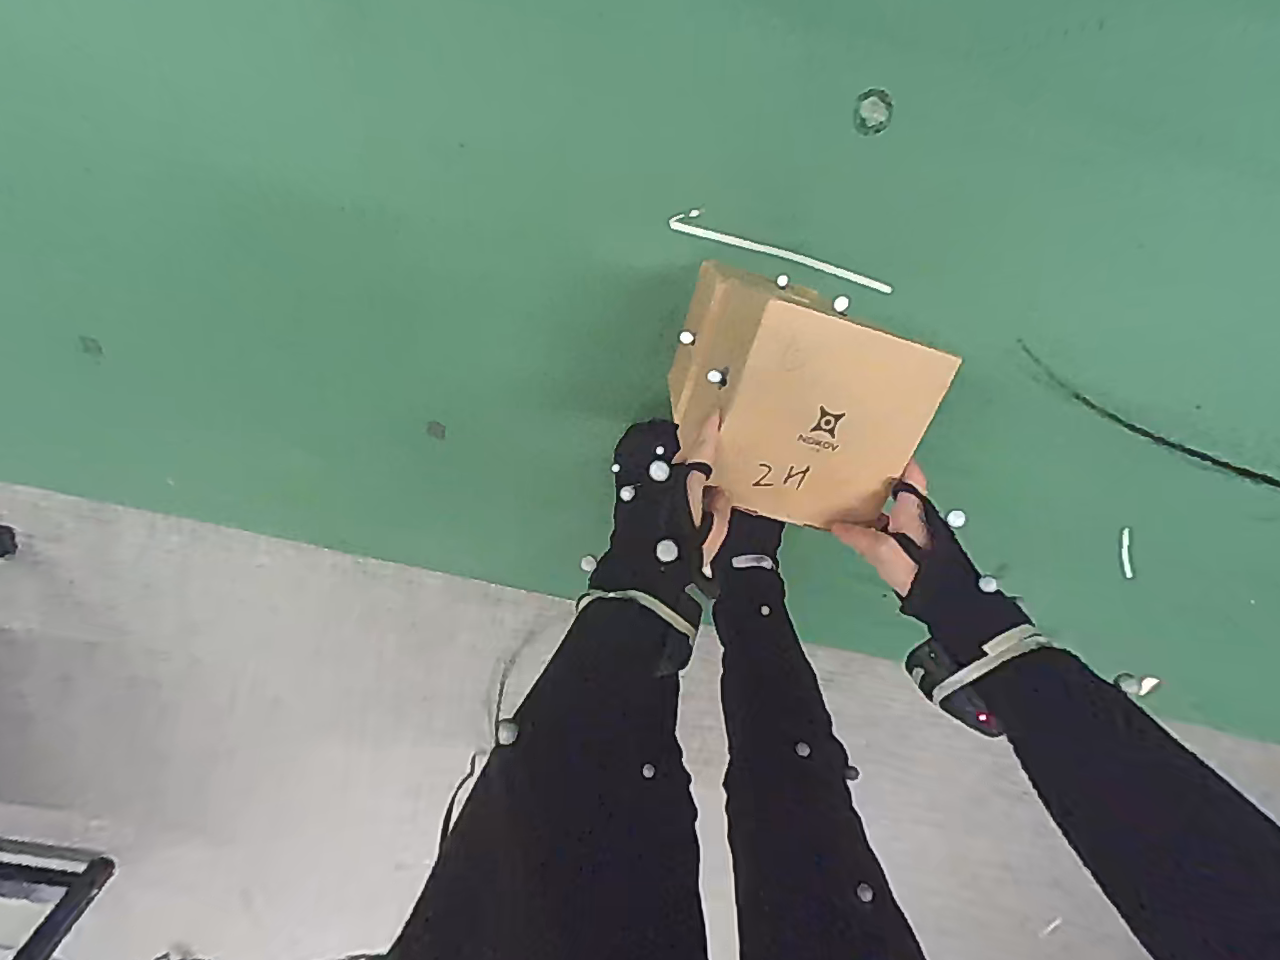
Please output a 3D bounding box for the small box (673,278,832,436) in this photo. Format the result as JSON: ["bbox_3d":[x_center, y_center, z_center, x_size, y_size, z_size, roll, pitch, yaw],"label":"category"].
[{"bbox_3d":[0.145,-0.148,0.709,0.168,0.176,0.179,14,116,-6],"label":"small box"}]

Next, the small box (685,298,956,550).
[{"bbox_3d":[0.149,-0.064,0.522,0.168,0.176,0.179,15,113,-7],"label":"small box"}]
